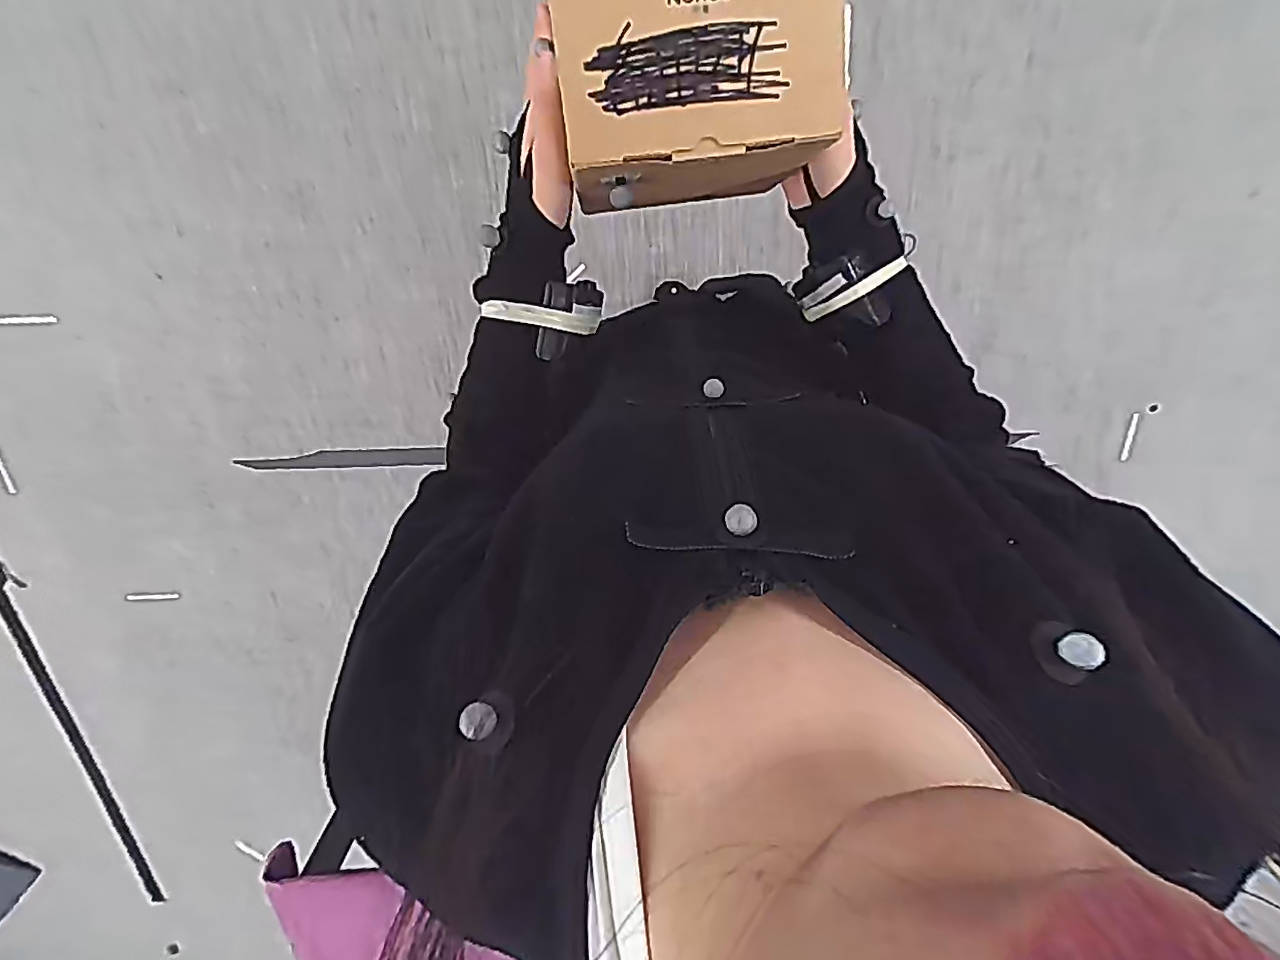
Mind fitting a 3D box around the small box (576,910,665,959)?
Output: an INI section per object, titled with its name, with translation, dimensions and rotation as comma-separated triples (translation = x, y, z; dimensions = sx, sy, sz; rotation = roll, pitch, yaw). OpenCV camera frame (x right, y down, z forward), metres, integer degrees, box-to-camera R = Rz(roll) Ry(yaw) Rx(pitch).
[small box]
translation = -0.037, 0.955, 1.017
dimensions = 0.168, 0.176, 0.179
rotation = -1, 111, -2
